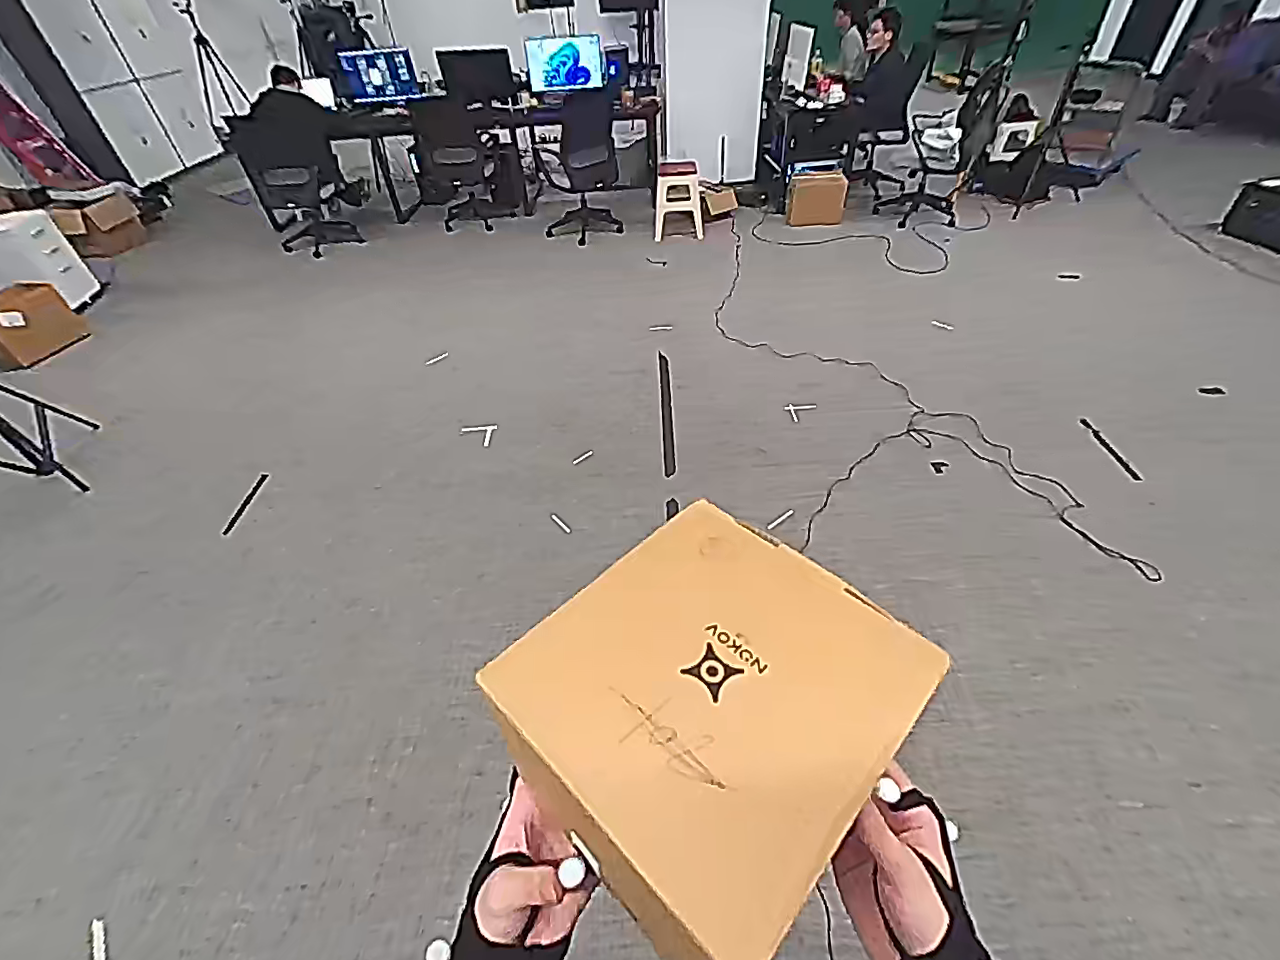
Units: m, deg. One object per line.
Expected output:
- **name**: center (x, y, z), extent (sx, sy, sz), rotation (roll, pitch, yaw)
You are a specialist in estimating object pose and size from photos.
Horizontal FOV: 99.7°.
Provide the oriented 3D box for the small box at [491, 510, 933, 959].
- **small box**: center (0.038, 0.157, 0.333), extent (0.168, 0.176, 0.179), rotation (32, 53, 31)
